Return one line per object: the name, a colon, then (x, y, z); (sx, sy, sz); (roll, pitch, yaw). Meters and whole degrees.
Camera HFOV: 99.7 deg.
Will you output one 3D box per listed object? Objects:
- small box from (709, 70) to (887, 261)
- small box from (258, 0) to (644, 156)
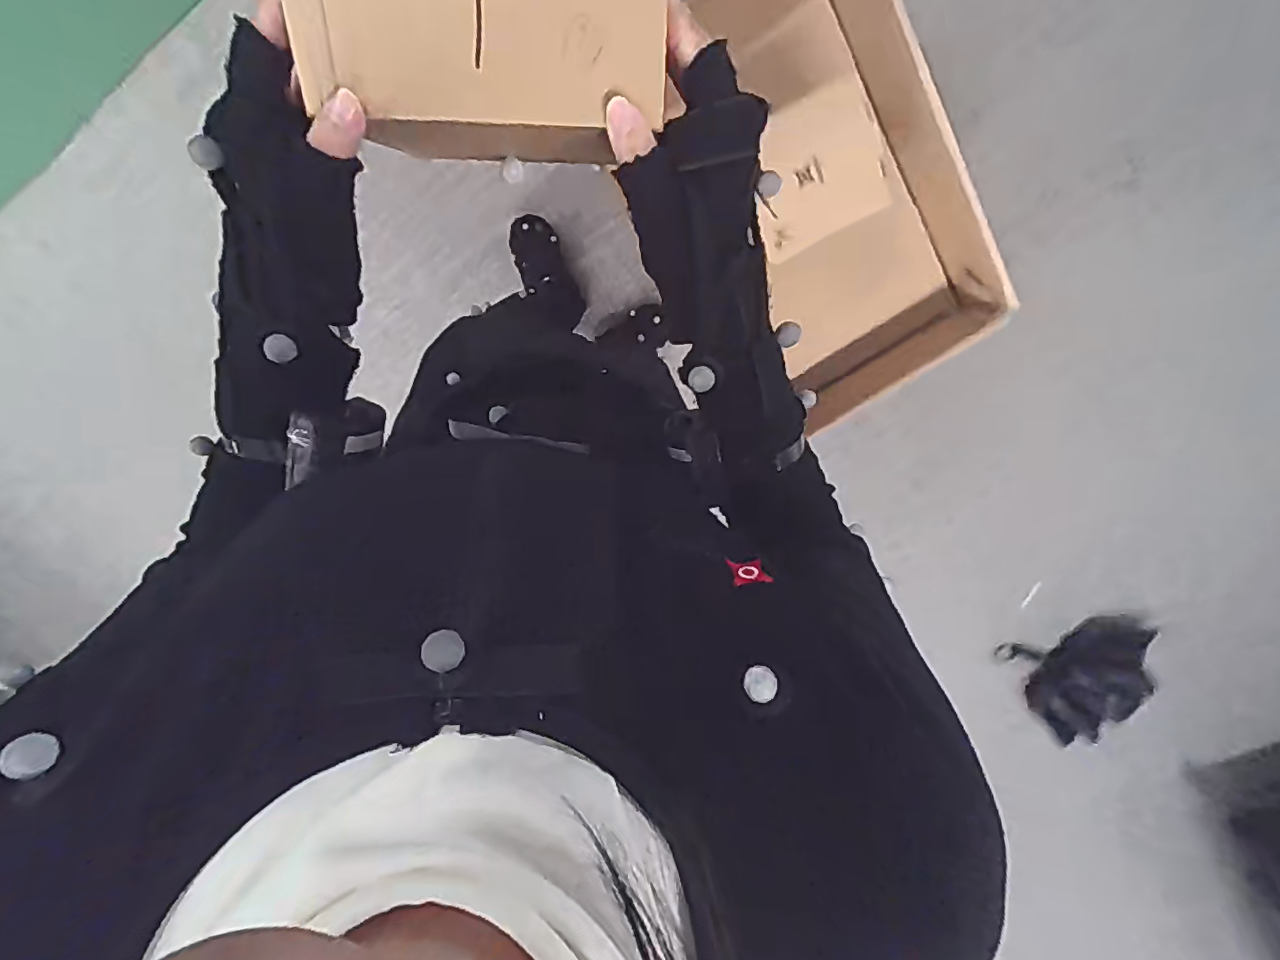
small box: (0.215, -0.431, 0.771); (0.179, 0.176, 0.168); (-24, 110, 9)
small box: (-0.085, -0.284, 0.285); (0.168, 0.176, 0.179); (-1, 116, -3)
